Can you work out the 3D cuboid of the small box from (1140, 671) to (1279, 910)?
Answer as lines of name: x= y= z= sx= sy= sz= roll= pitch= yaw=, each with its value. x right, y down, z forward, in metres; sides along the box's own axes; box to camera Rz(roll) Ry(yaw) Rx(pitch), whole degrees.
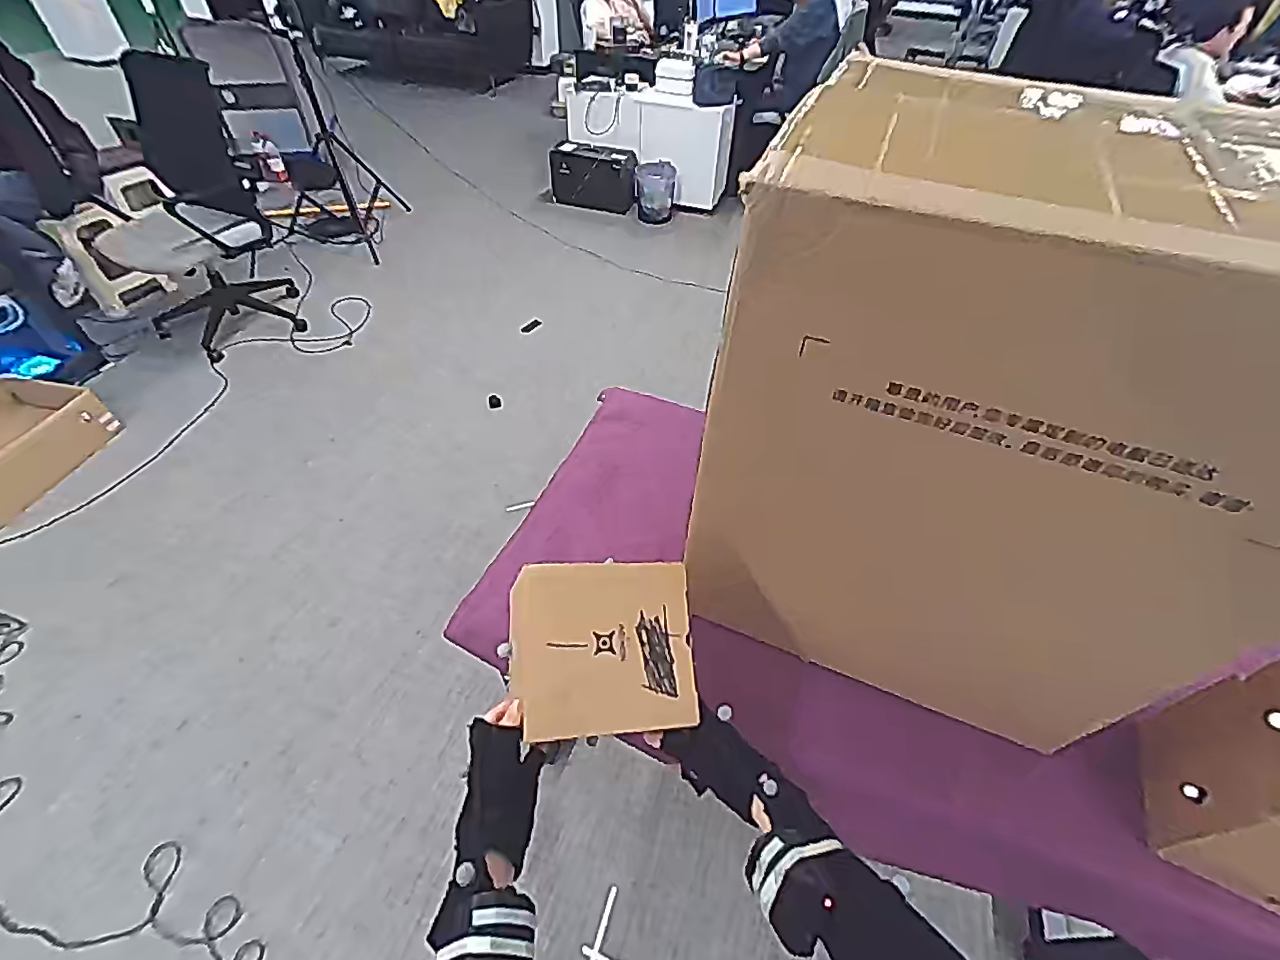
small box: x=0.719 y=0.360 z=0.609 sx=0.168 sy=0.176 sz=0.179 roll=23 pitch=49 yaw=17

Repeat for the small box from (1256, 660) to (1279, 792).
small box: x=0.732 y=0.251 z=0.488 sx=0.168 sy=0.176 sz=0.179 roll=25 pitch=52 yaw=21
